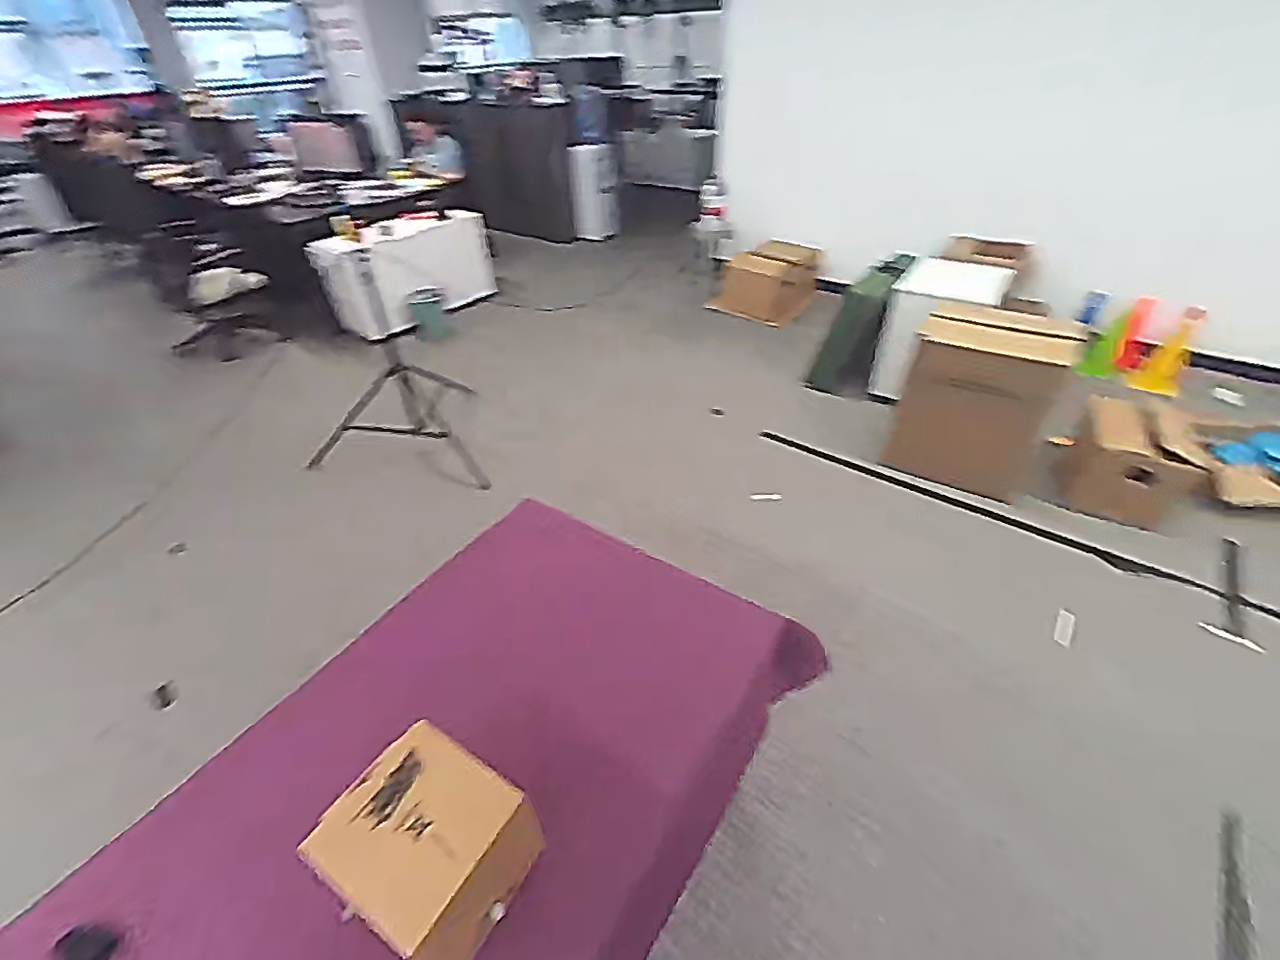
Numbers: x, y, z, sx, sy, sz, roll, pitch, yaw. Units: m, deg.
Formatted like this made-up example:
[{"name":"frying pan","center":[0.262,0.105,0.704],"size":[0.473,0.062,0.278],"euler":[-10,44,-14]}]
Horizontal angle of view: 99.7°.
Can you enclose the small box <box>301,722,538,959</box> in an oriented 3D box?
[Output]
[{"name":"small box","center":[-0.244,0.433,0.637],"size":[0.179,0.176,0.168],"euler":[20,45,25]}]
